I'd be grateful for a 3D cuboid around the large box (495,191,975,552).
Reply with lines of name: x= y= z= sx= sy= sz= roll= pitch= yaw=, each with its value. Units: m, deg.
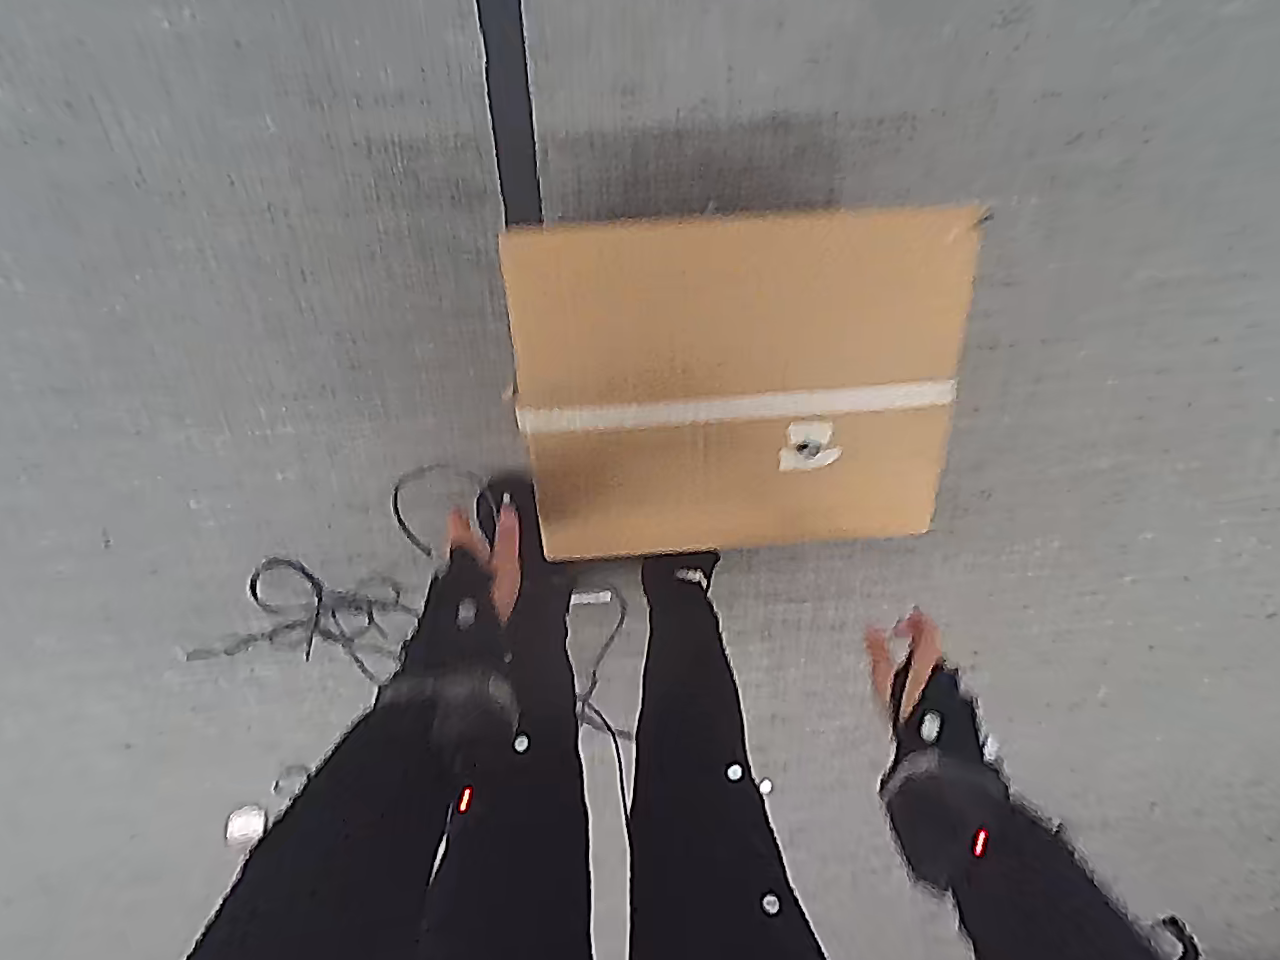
large box: x=0.078 y=-0.140 z=0.634 sx=0.408 sy=0.320 sz=0.320 roll=-4 pitch=115 yaw=-2
